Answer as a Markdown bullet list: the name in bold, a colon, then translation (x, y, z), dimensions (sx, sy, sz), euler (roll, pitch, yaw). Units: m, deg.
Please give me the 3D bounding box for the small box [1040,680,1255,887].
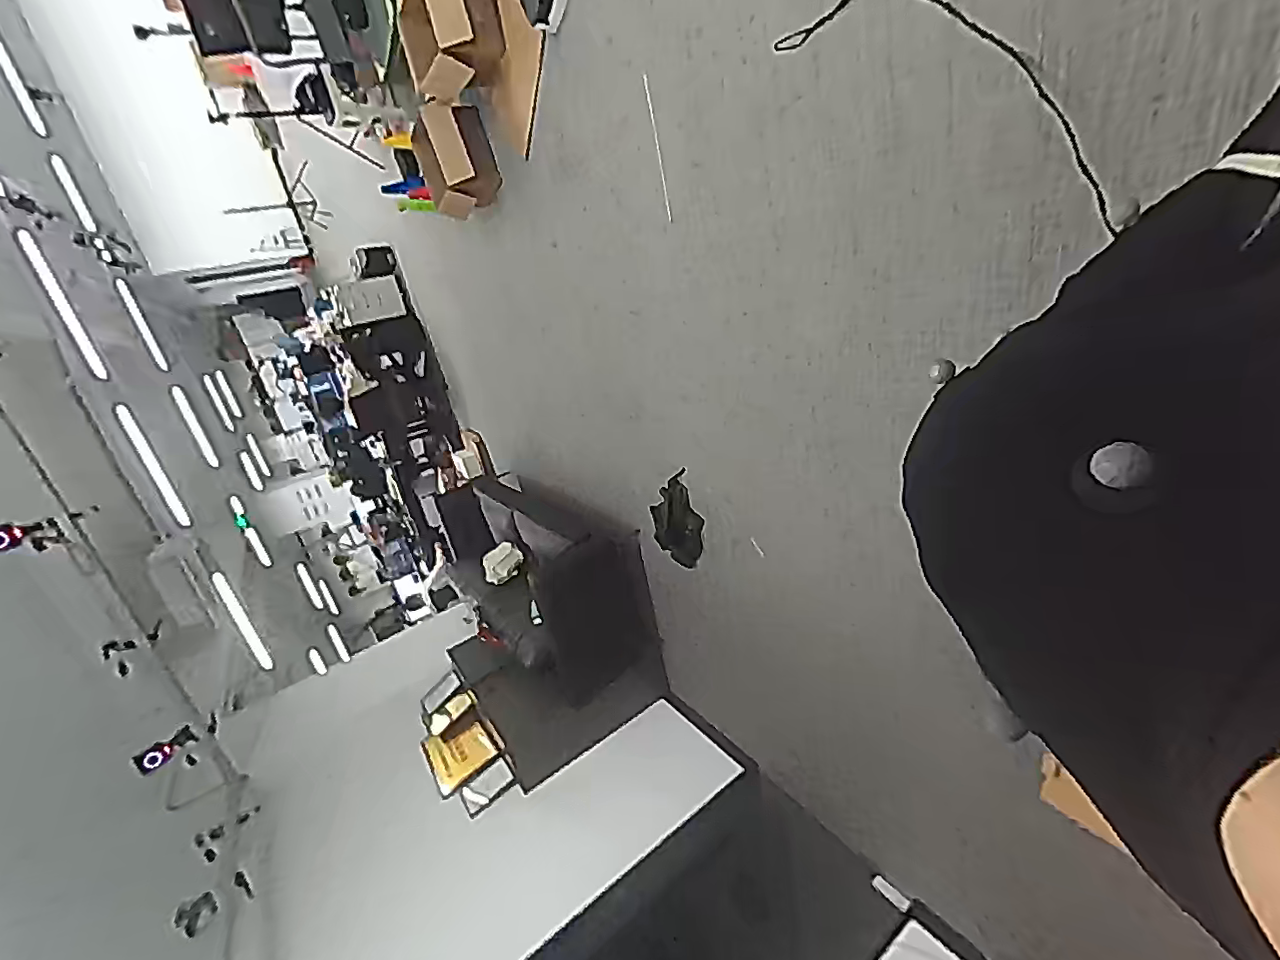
- **small box**: translation (0.740, 0.428, 0.800), dimensions (0.179, 0.176, 0.168), euler (25, 133, 52)
